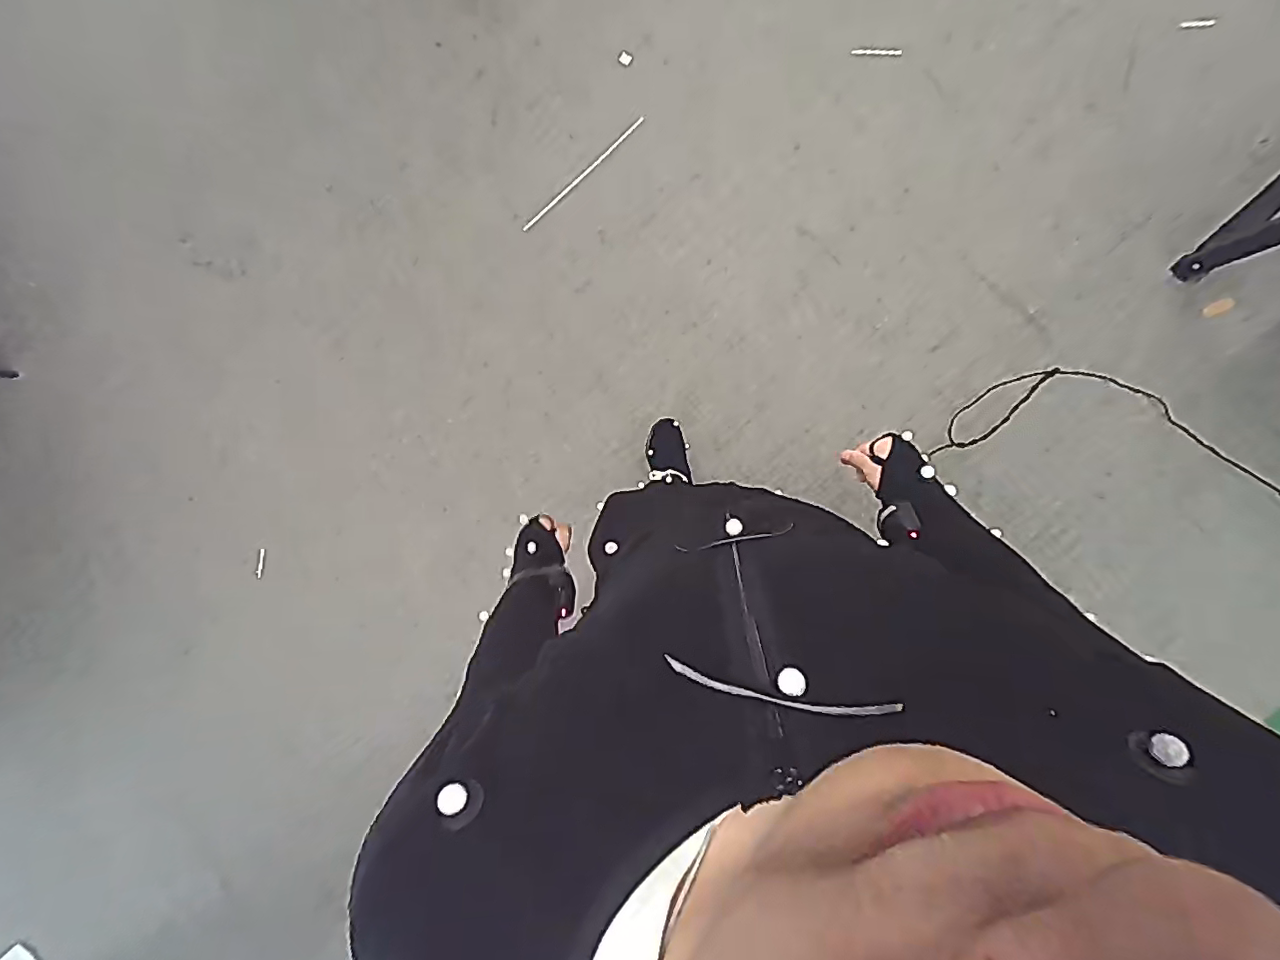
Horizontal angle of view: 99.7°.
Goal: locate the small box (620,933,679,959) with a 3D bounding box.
[{"bbox_3d":[0.029,1.345,1.398,0.179,0.176,0.168,-43,88,4],"label":"small box"}]
